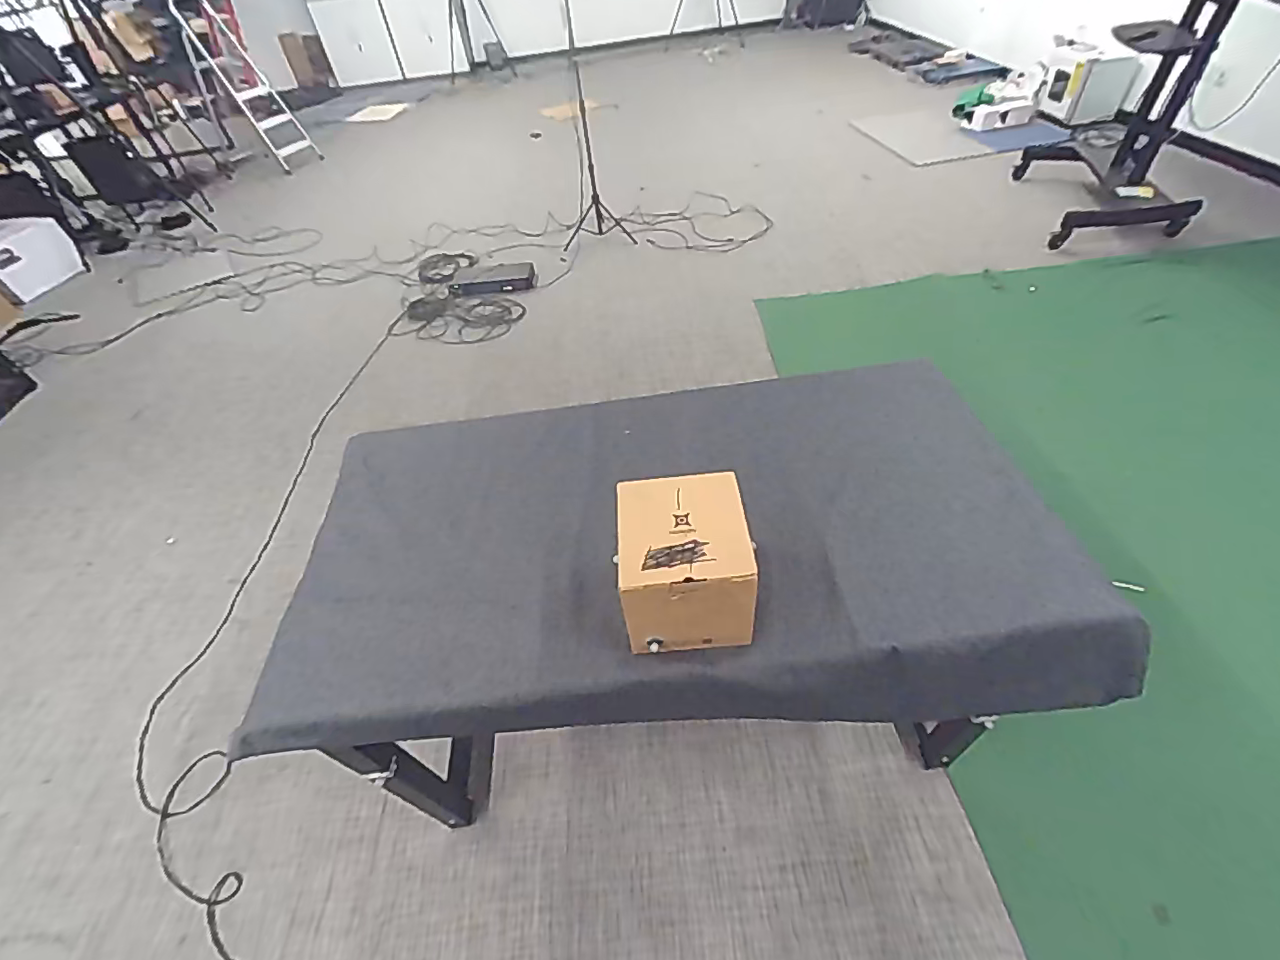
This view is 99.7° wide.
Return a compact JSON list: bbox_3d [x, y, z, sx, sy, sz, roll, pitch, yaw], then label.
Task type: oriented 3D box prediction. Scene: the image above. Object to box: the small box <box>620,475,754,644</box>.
[{"bbox_3d":[0.064,0.117,0.759,0.168,0.176,0.179,-4,45,3],"label":"small box"}]
